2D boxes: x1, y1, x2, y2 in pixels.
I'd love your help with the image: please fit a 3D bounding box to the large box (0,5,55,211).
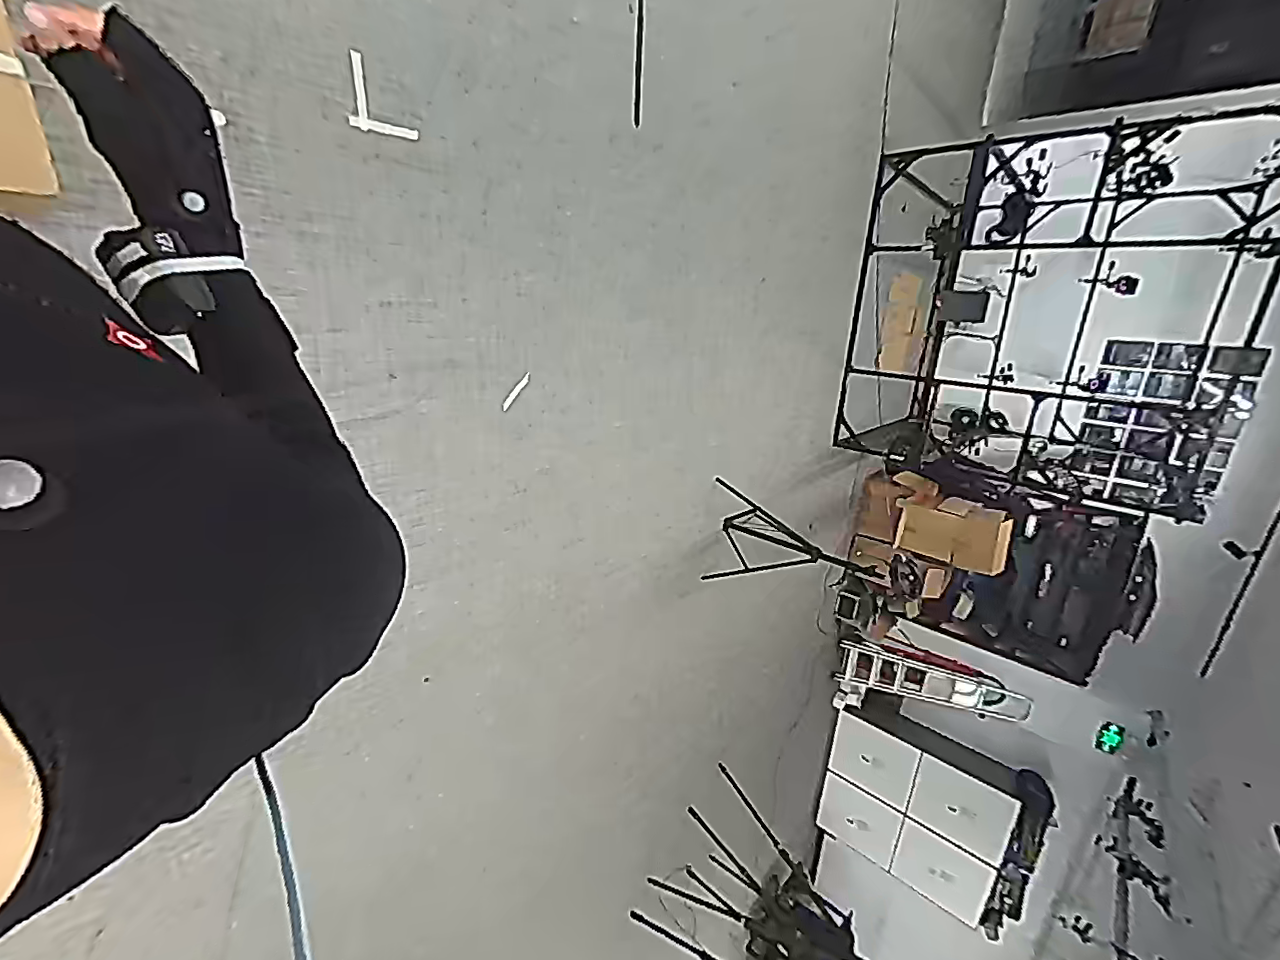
[{"bbox_3d":[-1.095,-0.547,0.688,0.408,0.320,0.320,-21,117,-47],"label":"large box"}]
